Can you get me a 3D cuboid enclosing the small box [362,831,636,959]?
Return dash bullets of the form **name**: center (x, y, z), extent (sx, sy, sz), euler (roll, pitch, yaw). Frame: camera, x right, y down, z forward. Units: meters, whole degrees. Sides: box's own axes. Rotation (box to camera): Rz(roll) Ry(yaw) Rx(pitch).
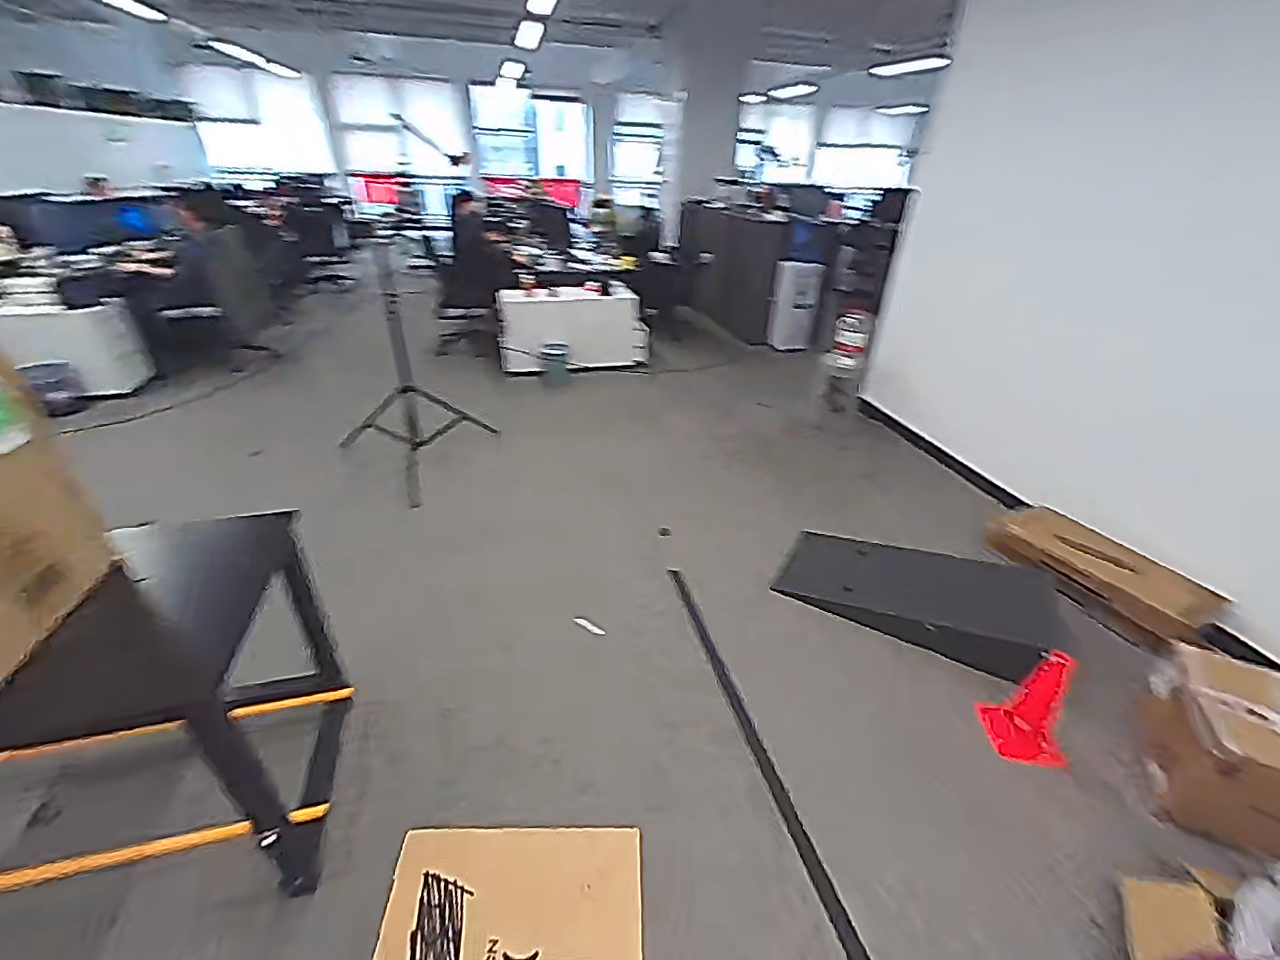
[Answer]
- **small box**: center (-0.091, 0.375, 0.380), extent (0.179, 0.176, 0.168), euler (0, 36, -3)
